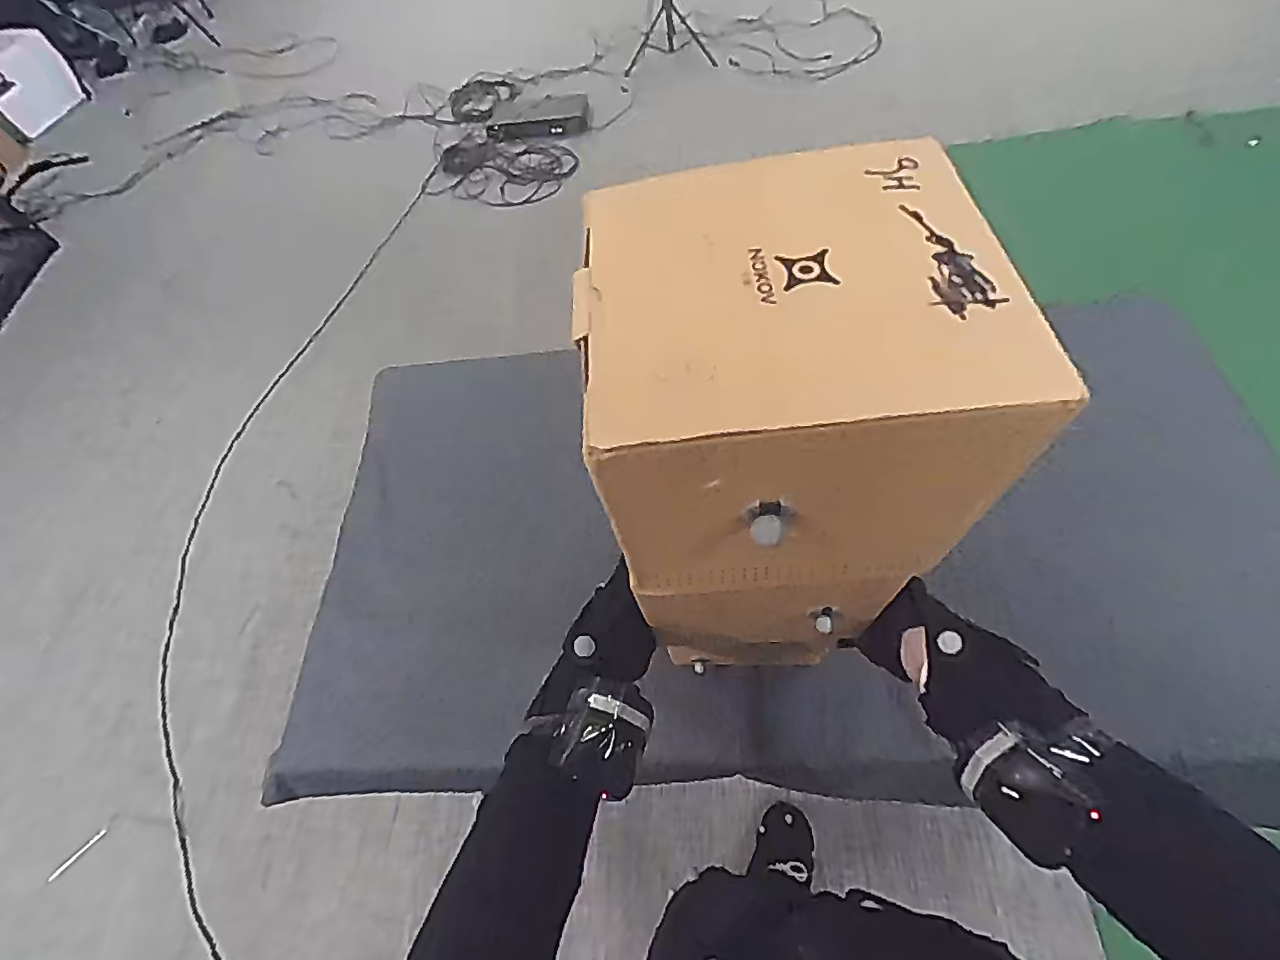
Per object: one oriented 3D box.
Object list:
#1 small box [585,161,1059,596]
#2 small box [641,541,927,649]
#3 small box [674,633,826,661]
[{"bbox_3d":[0.073,-0.044,0.311,0.179,0.176,0.168,-8,57,3],"label":"small box"},{"bbox_3d":[0.090,0.029,0.435,0.179,0.176,0.168,-8,60,3],"label":"small box"},{"bbox_3d":[0.112,0.098,0.599,0.168,0.176,0.179,-3,60,7],"label":"small box"}]
